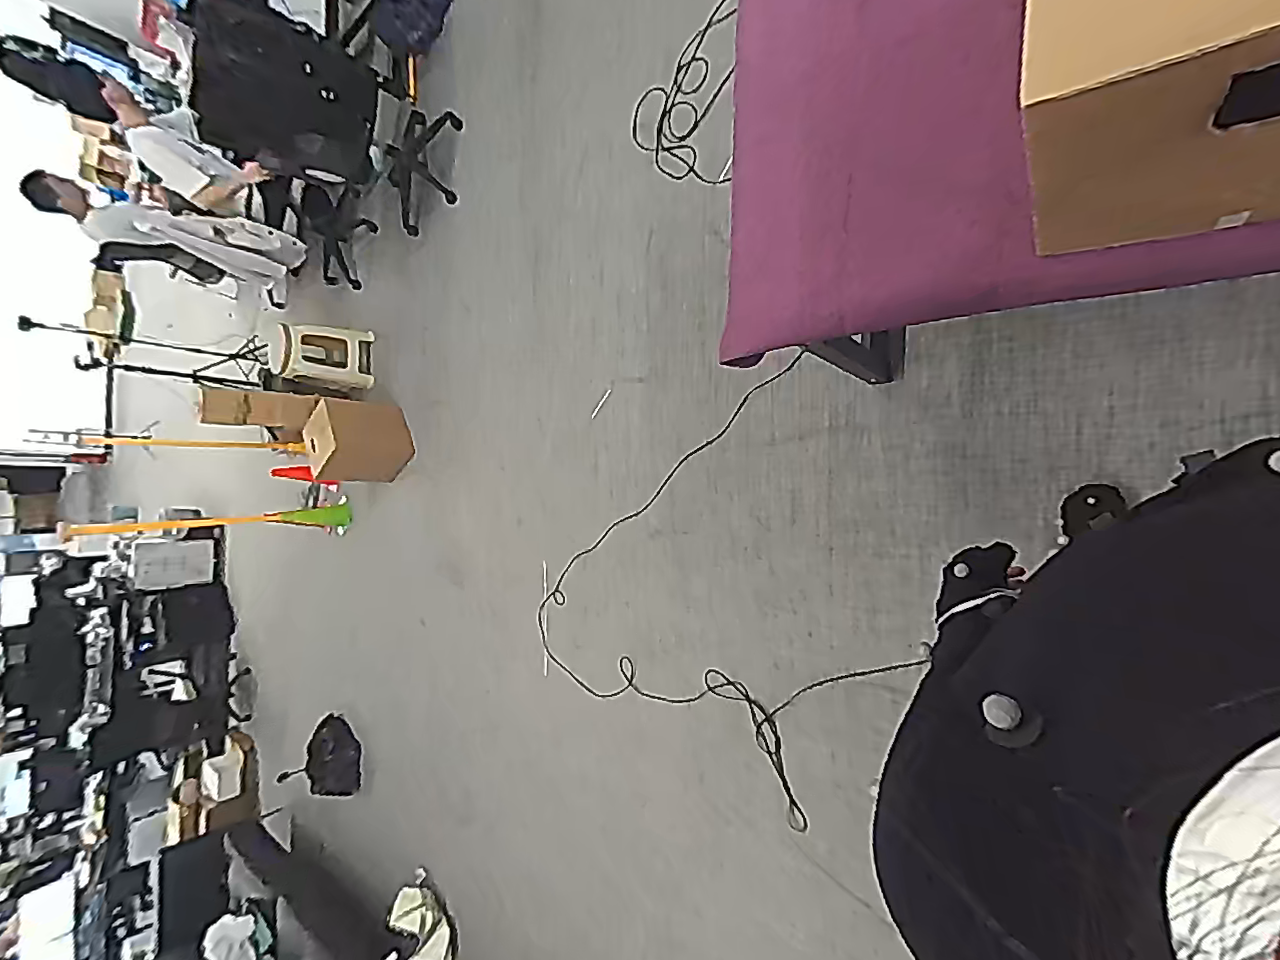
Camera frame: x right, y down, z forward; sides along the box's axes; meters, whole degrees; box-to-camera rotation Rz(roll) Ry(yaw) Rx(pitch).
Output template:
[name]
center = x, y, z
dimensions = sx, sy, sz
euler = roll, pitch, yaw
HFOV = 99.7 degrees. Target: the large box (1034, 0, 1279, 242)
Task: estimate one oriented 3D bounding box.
[large box]
center = 0.517, -0.470, 0.429
dimensions = 0.320, 0.320, 0.408
euler = 4, 92, 38
